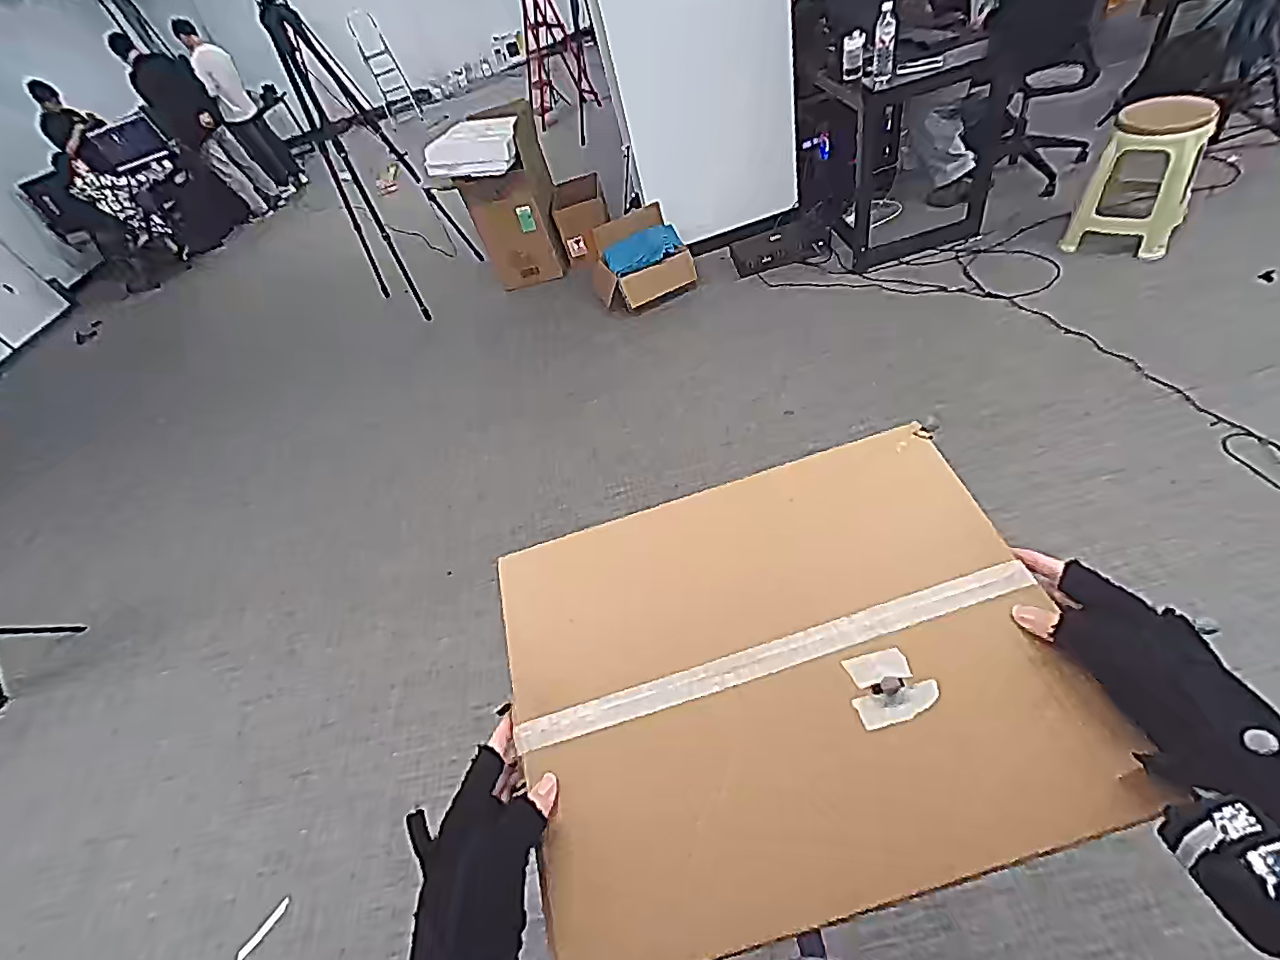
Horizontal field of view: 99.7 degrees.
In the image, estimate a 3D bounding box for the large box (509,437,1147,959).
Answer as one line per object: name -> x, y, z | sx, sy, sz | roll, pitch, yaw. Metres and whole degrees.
large box -> 0.127, 0.220, 0.551 | 0.408, 0.320, 0.320 | -18, 57, 0
